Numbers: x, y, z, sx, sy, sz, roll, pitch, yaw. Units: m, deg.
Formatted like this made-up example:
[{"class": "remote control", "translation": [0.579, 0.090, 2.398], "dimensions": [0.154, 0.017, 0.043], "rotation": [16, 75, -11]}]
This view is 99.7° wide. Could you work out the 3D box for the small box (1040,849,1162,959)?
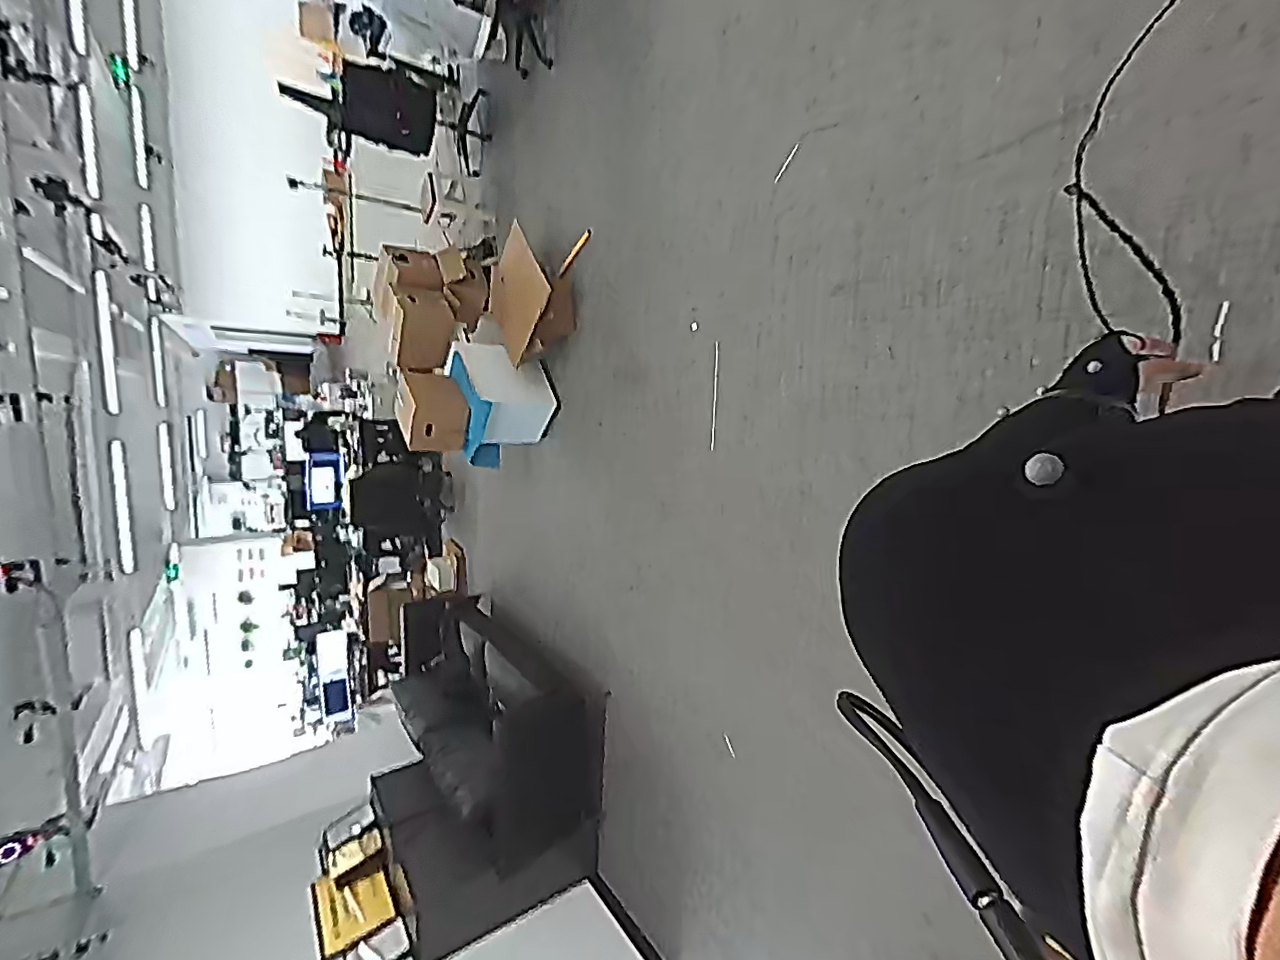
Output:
[{"class": "small box", "translation": [1.059, 1.004, 1.240], "dimensions": [0.168, 0.176, 0.179], "rotation": [18, 107, 52]}]
